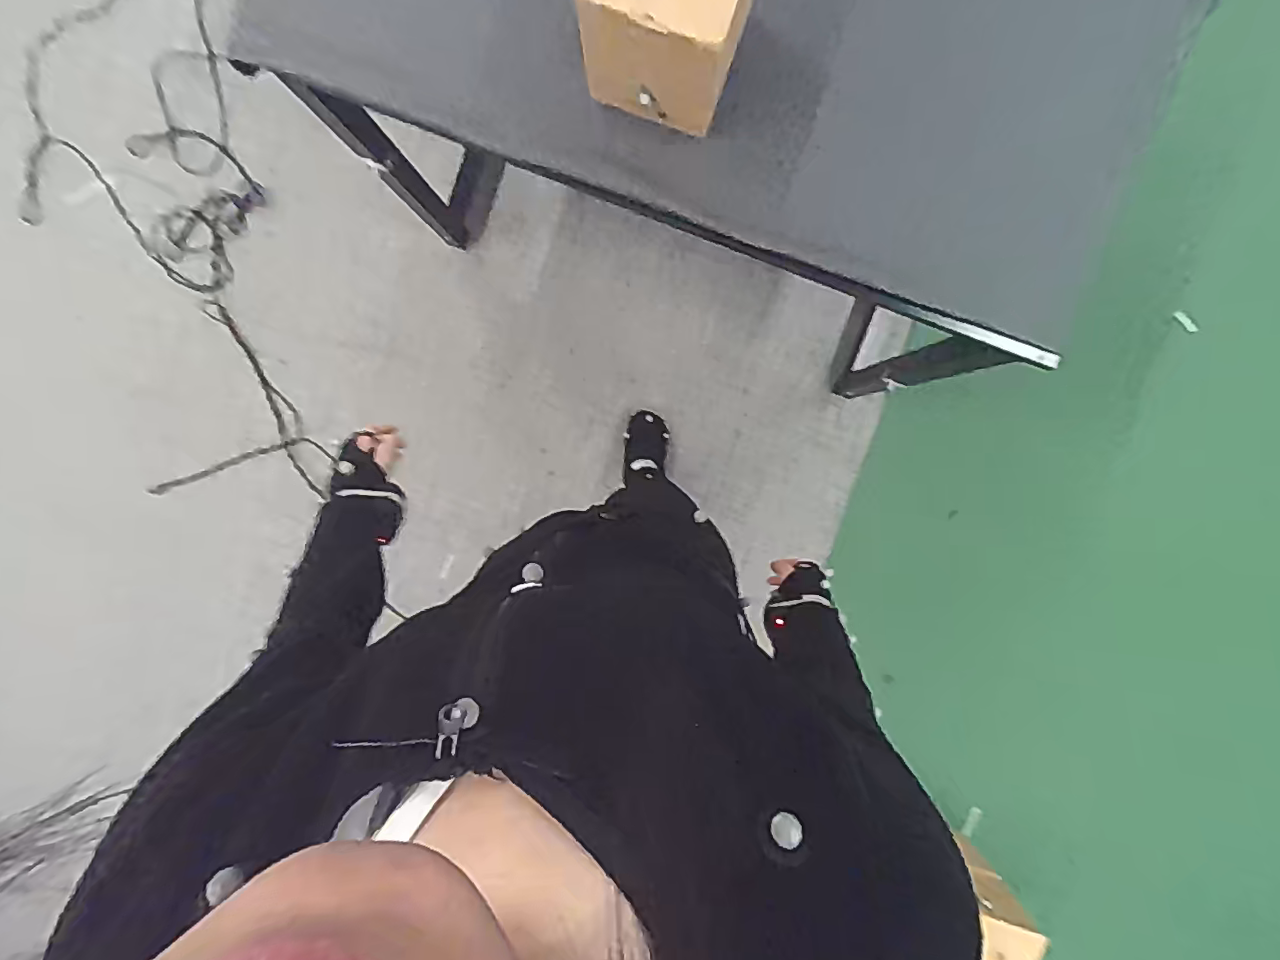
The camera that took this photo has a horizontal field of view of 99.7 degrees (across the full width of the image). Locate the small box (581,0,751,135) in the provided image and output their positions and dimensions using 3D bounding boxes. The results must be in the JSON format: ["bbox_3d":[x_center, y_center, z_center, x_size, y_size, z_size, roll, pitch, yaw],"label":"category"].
[{"bbox_3d":[0.038,-0.560,0.635,0.168,0.176,0.179,20,93,0],"label":"small box"}]

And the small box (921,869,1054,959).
[{"bbox_3d":[0.818,1.080,1.290,0.179,0.176,0.168,19,94,-1],"label":"small box"}]
